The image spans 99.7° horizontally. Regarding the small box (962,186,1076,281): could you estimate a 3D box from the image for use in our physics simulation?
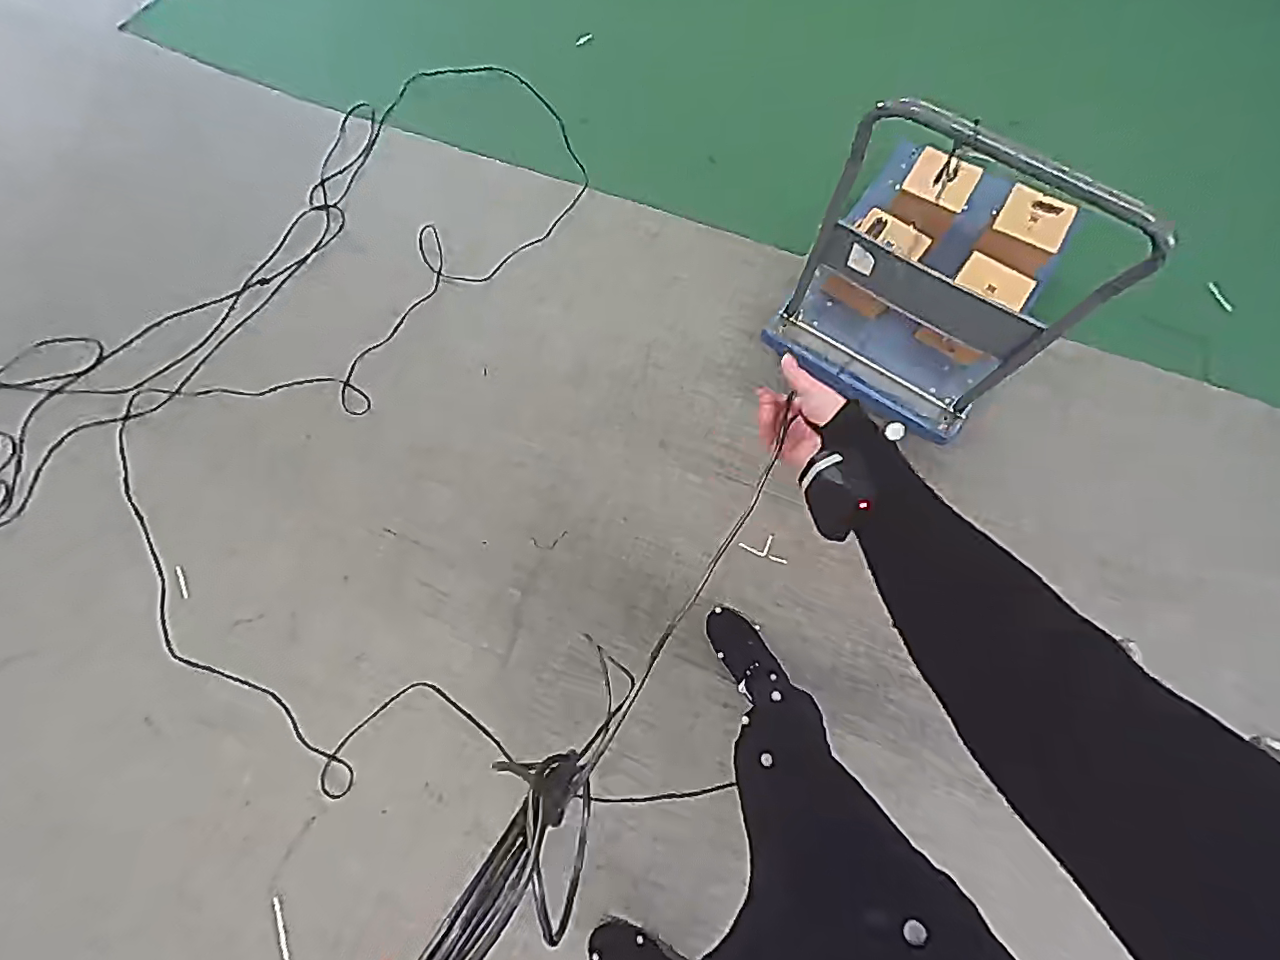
[{"bbox_3d":[1.014,-0.643,1.463,0.168,0.176,0.179,31,75,12],"label":"small box"}]

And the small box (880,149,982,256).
[{"bbox_3d":[0.801,-0.768,1.511,0.168,0.176,0.179,31,74,10],"label":"small box"}]

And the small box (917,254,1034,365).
[{"bbox_3d":[0.855,-0.434,1.397,0.168,0.176,0.179,35,76,12],"label":"small box"}]
